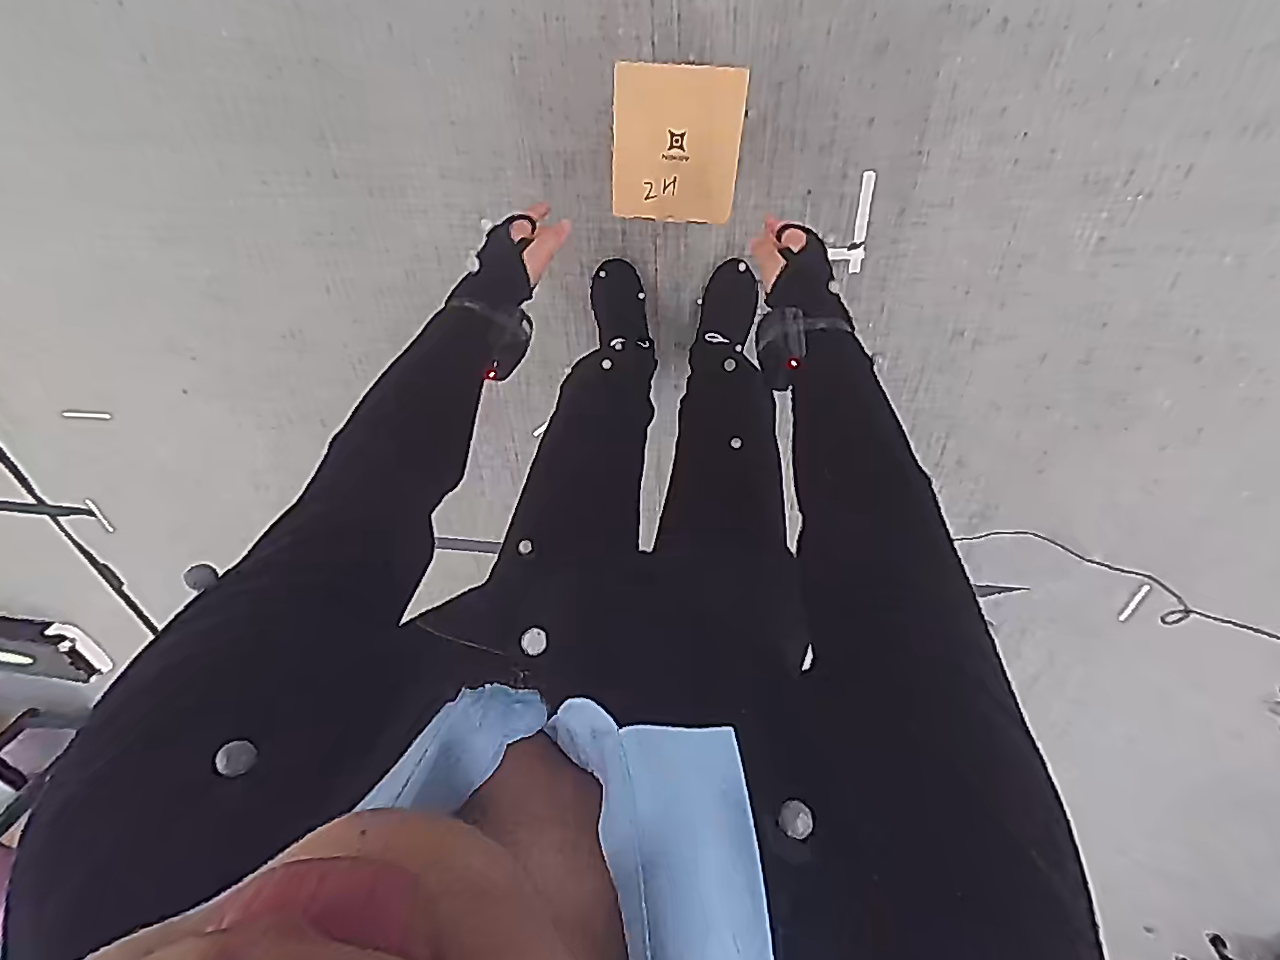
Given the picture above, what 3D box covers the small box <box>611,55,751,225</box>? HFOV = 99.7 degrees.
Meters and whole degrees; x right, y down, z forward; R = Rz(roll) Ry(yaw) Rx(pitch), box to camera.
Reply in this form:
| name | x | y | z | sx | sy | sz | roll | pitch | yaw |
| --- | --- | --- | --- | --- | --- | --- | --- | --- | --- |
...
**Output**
| name | x | y | z | sx | sy | sz | roll | pitch | yaw |
| --- | --- | --- | --- | --- | --- | --- | --- | --- | --- |
| small box | 0.056 | -0.473 | 0.754 | 0.168 | 0.176 | 0.179 | 7 | 127 | 5 |
